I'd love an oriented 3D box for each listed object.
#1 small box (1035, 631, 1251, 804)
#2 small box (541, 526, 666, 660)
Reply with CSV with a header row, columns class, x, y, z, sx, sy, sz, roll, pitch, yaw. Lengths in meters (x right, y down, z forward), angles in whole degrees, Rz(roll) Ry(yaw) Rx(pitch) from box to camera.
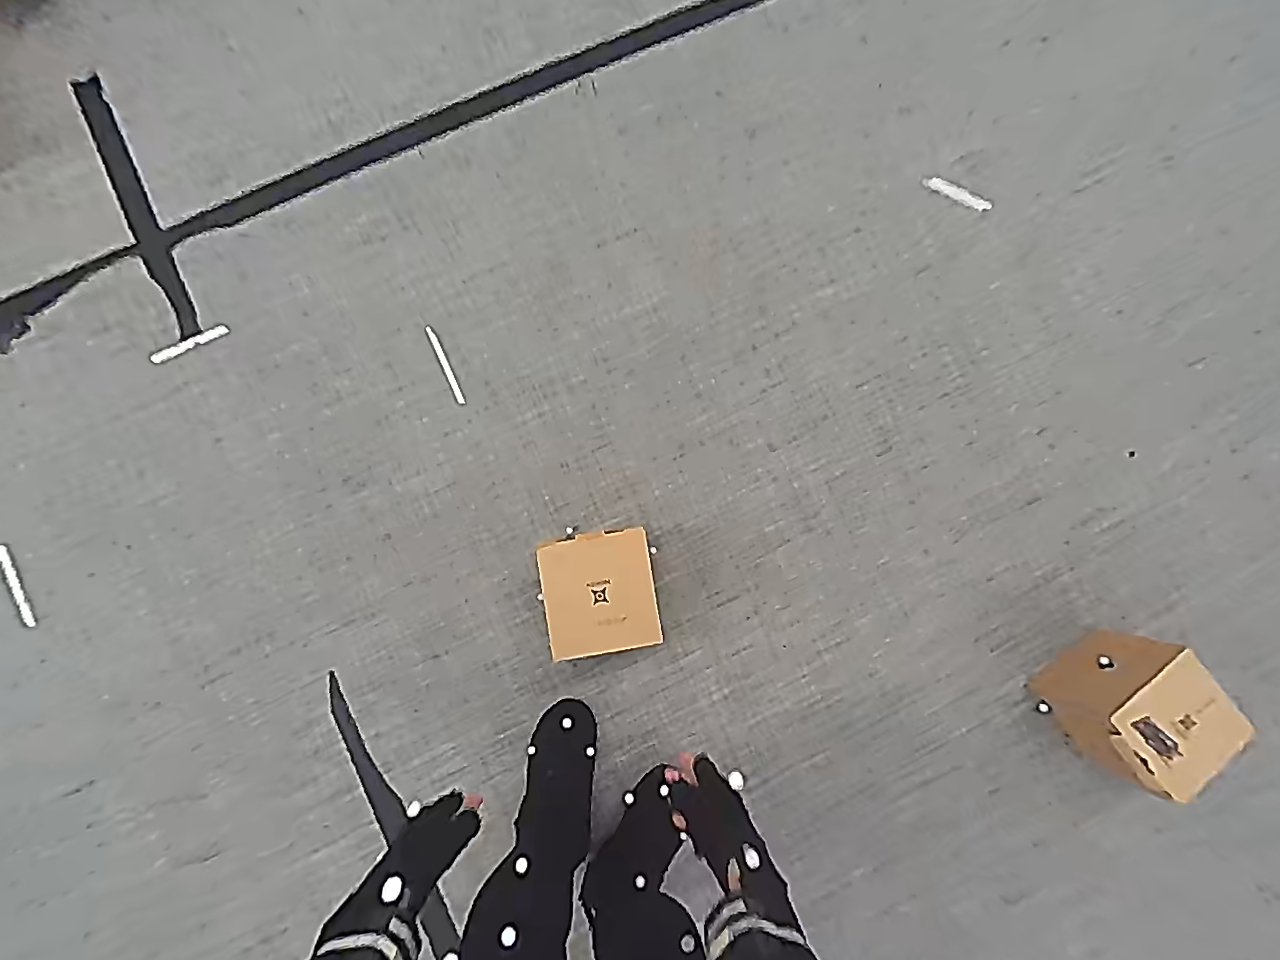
class,x,y,z,sx,sy,sz,roll,pitch,yaw
small box,0.809,0.378,0.896,0.179,0.176,0.168,-37,87,-5
small box,-0.058,0.173,0.877,0.168,0.176,0.179,-10,87,-2
